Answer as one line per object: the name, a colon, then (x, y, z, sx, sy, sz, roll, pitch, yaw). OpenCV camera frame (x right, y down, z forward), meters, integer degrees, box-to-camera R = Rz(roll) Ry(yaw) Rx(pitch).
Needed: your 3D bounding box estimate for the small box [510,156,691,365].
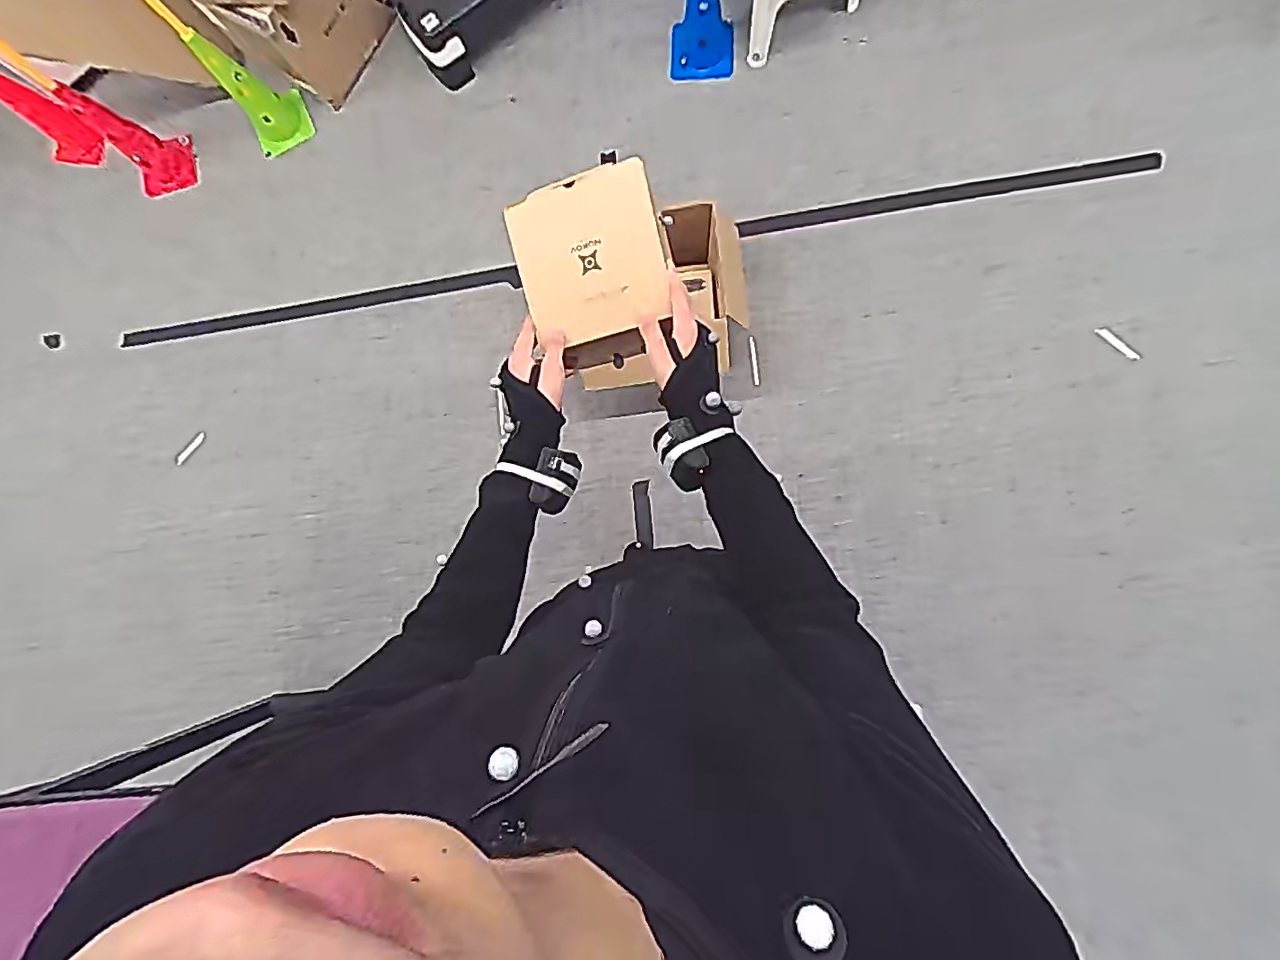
small box: (-0.037, -0.255, 0.675, 0.168, 0.176, 0.179, -13, 93, 12)
